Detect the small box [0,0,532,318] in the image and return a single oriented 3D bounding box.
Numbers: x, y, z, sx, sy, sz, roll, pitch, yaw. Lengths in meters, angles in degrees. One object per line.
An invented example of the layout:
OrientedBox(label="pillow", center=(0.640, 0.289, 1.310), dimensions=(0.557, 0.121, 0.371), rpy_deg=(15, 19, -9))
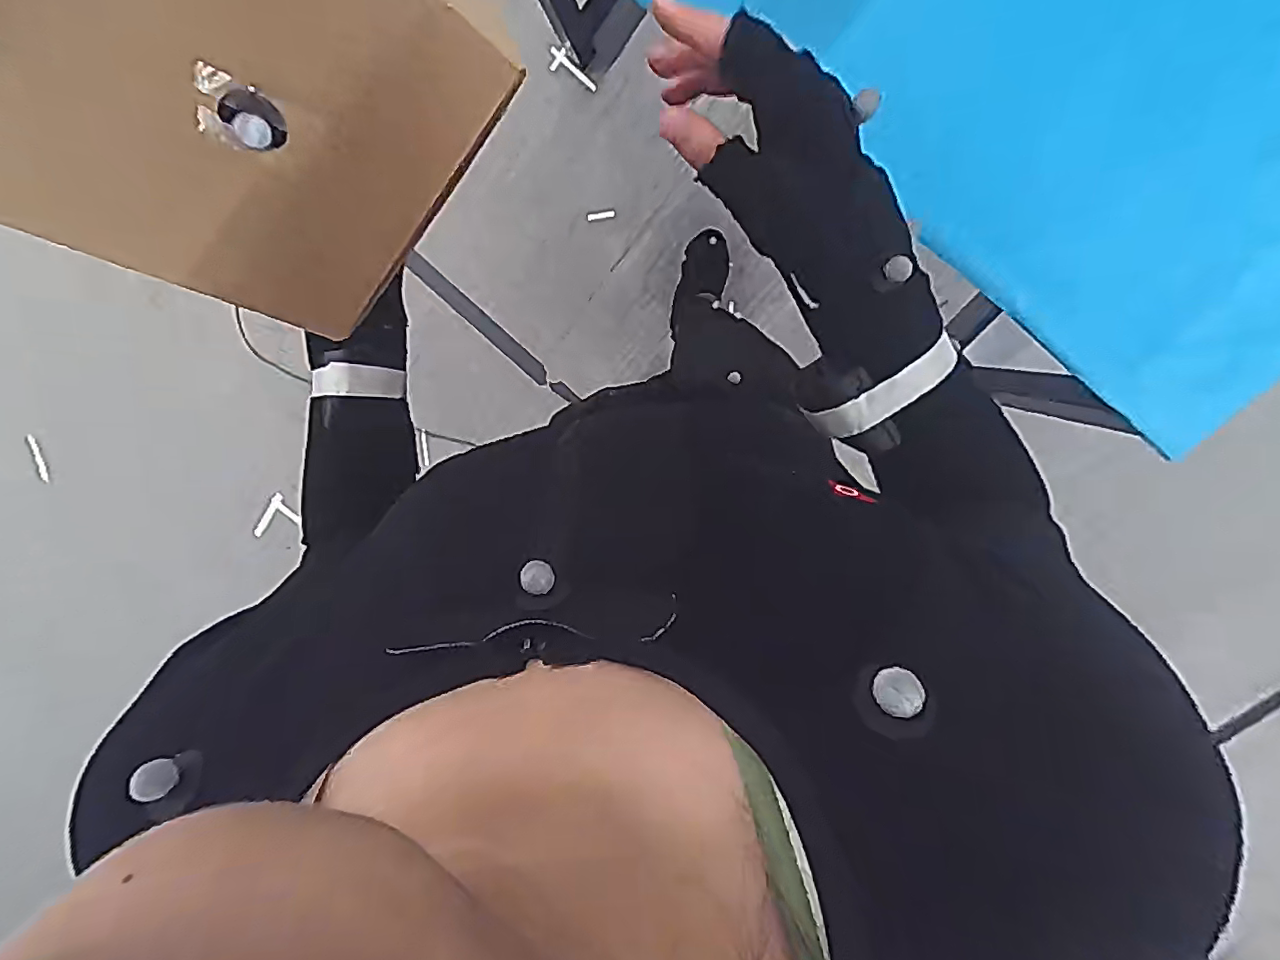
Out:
OrientedBox(label="small box", center=(-0.179, -0.214, 0.238), dimensions=(0.179, 0.176, 0.168), rpy_deg=(-36, 59, 31))
